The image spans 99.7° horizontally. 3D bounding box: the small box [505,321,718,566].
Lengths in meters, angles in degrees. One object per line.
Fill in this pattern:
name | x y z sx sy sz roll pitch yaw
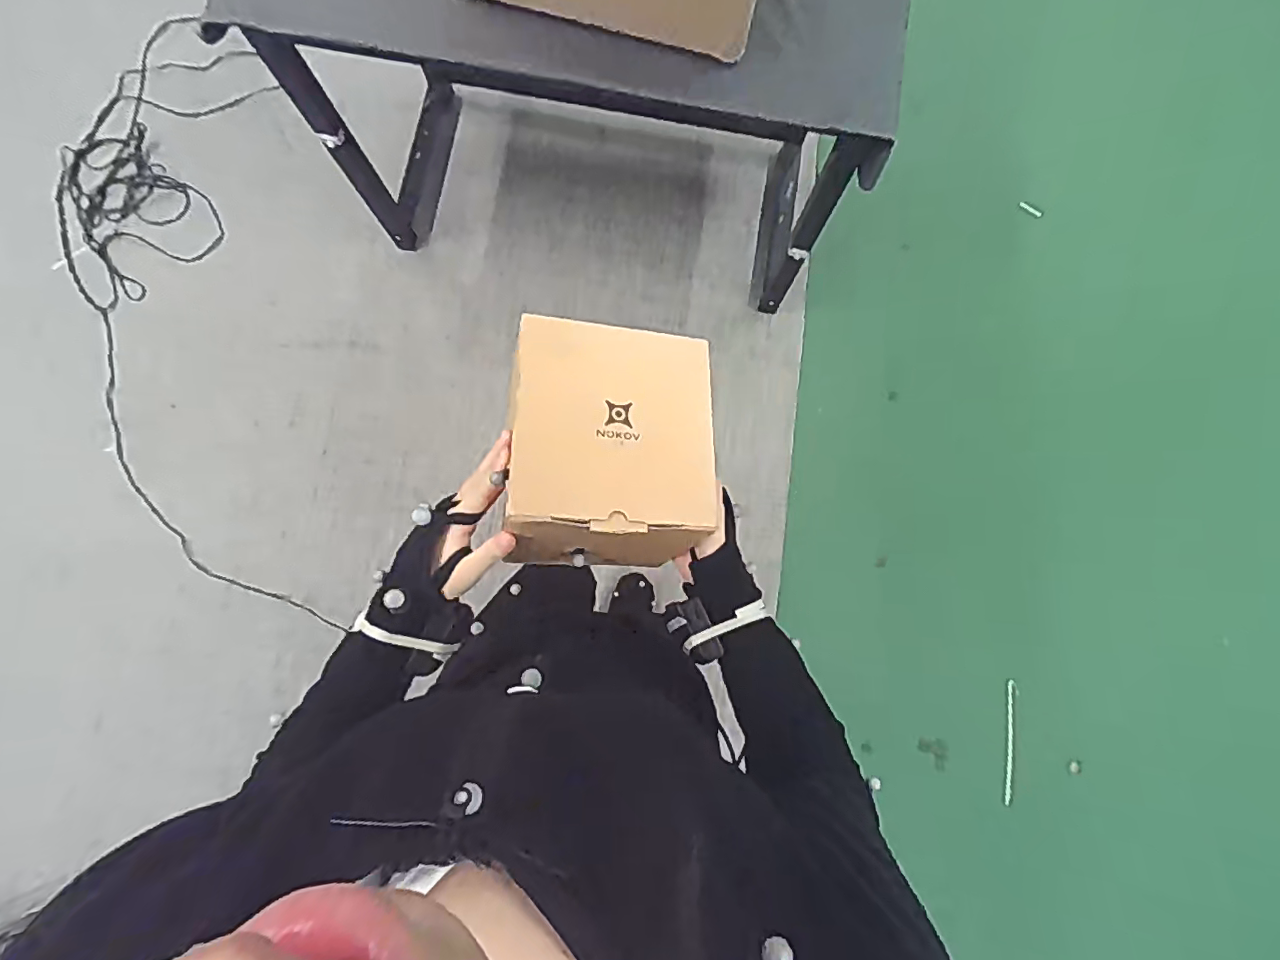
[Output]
small box | -0.038 -0.020 0.516 0.168 0.176 0.179 4 72 -15
